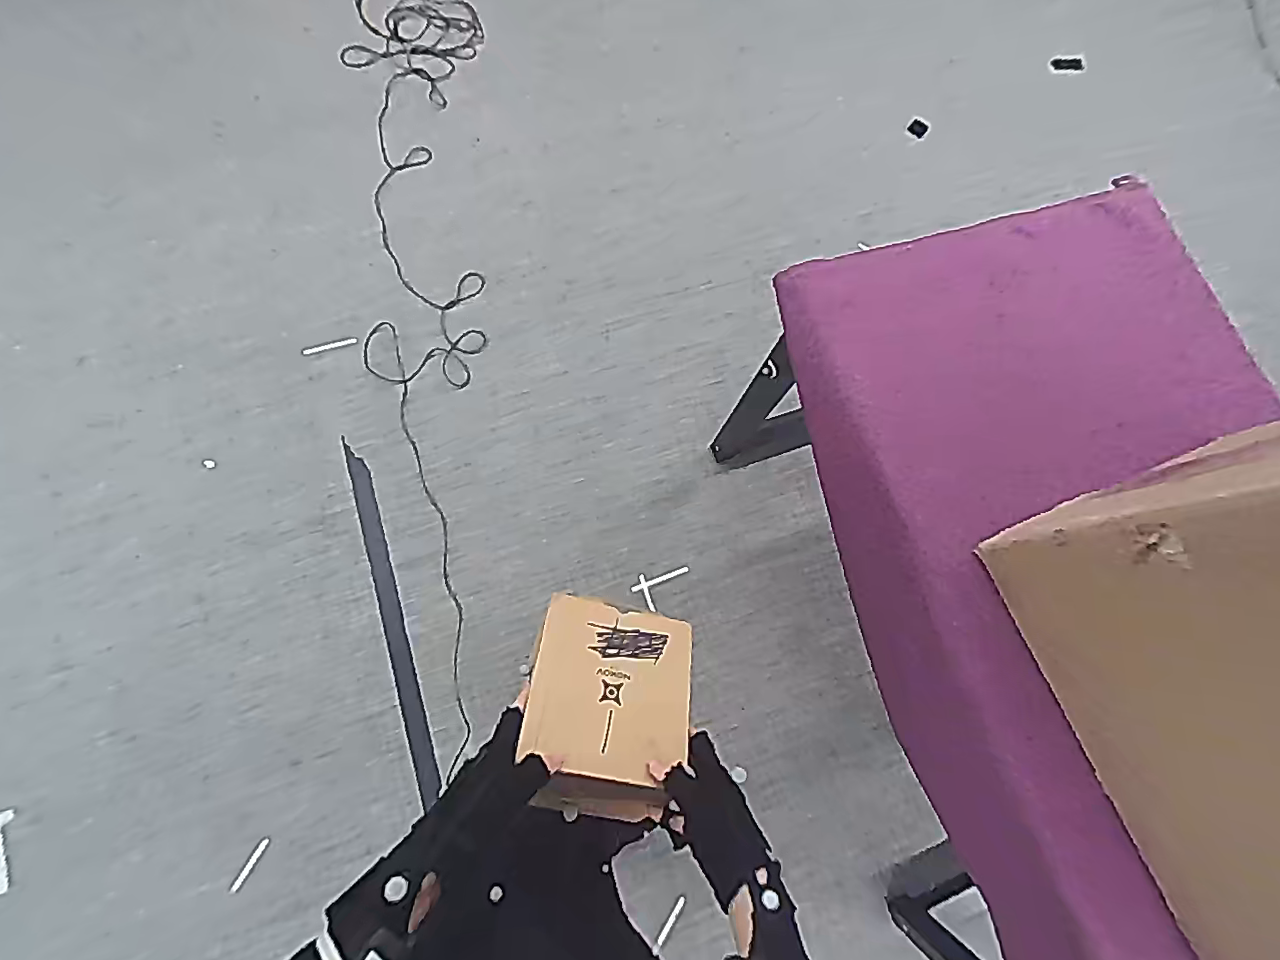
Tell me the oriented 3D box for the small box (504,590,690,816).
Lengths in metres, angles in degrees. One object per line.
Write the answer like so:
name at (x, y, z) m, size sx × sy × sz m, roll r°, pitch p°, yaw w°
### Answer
small box at (-0.050, 0.254, 0.610) m, size 0.168 × 0.176 × 0.179 m, roll 14°, pitch 47°, yaw -9°
